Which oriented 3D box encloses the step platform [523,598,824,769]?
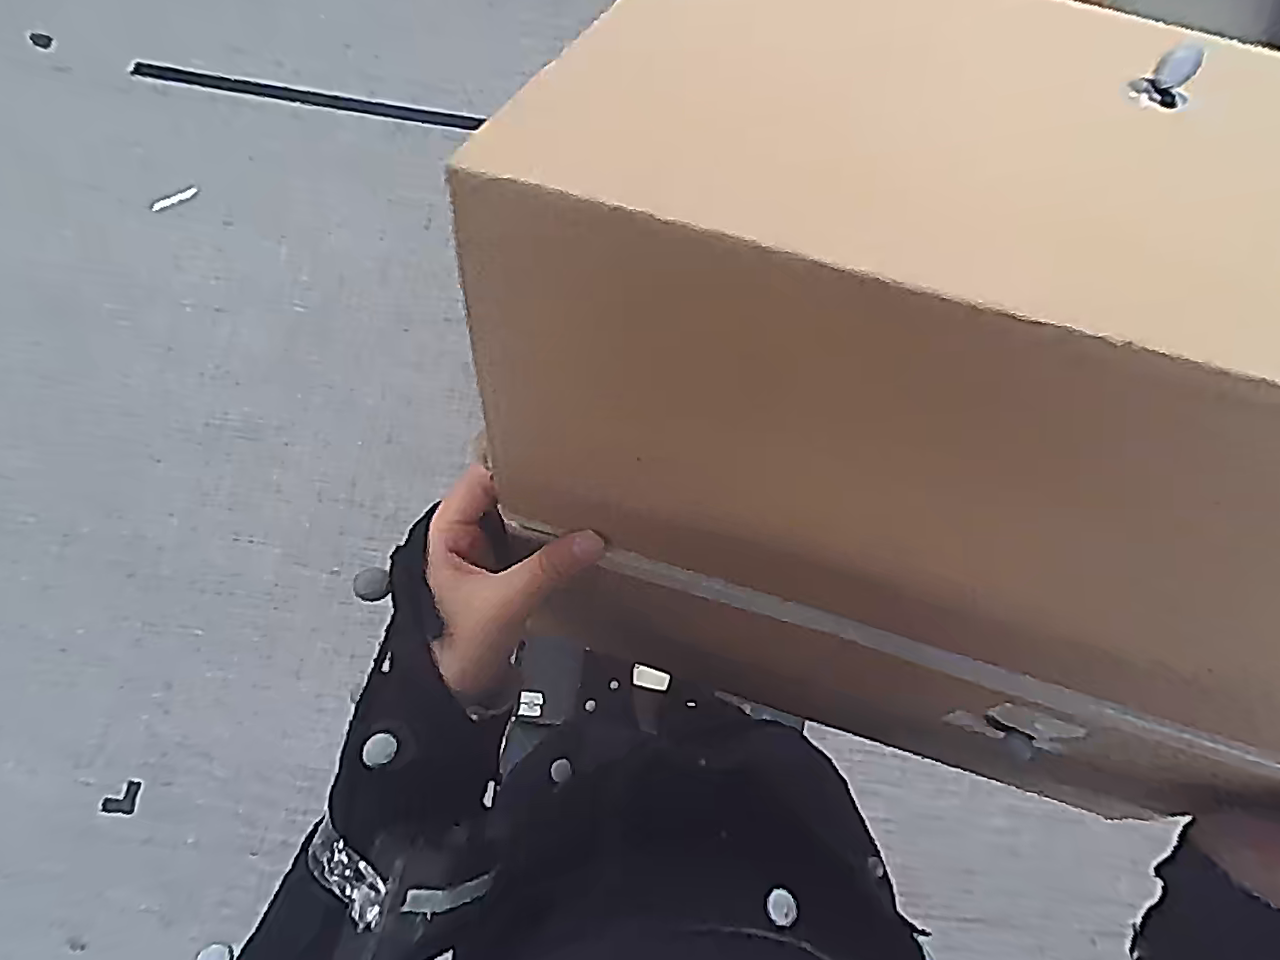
[{"bbox_3d":[0.078,0.445,1.275,0.684,0.204,0.286,14,77,-2],"label":"step platform"}]
